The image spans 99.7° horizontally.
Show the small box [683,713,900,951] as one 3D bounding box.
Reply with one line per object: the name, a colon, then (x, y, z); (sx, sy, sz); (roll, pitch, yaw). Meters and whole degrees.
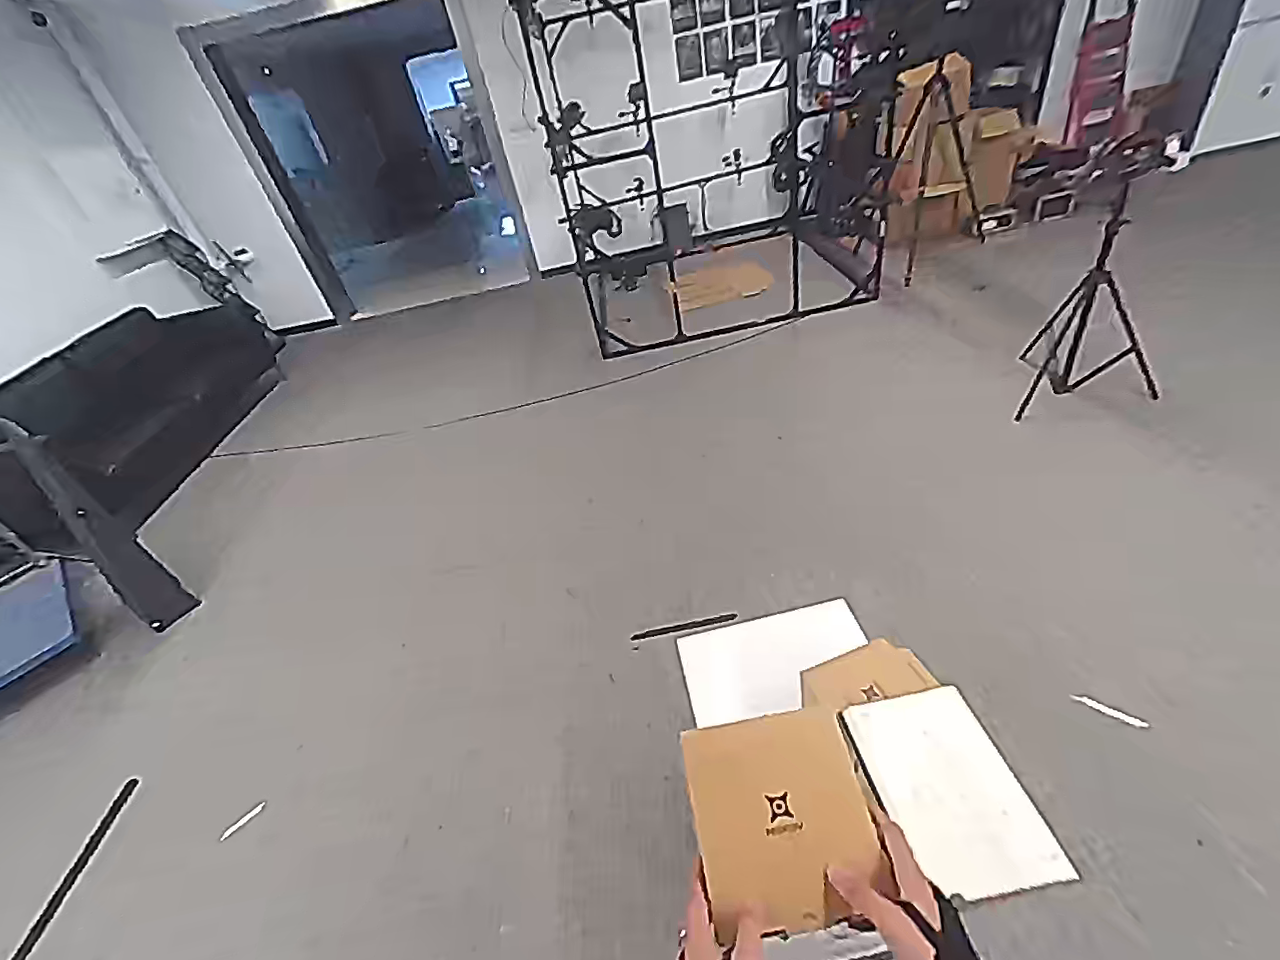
small box: (0.140, 0.372, 0.580); (0.168, 0.176, 0.179); (-9, 54, -1)
